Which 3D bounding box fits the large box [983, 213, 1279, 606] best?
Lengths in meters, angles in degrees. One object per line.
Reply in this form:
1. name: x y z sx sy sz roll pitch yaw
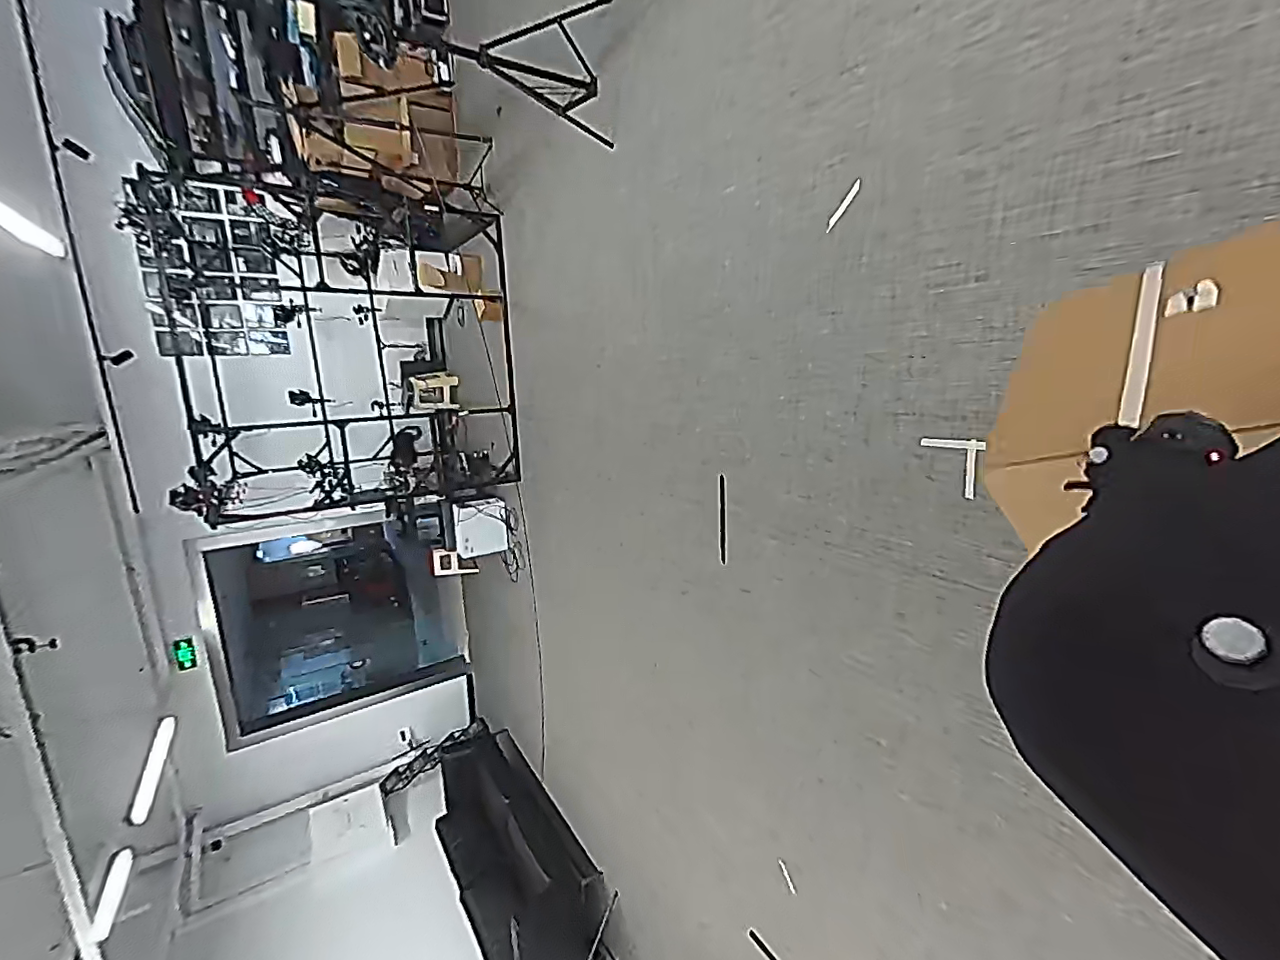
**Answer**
1. large box: 0.750 -0.081 0.745 0.320 0.408 0.320 48 152 -18
